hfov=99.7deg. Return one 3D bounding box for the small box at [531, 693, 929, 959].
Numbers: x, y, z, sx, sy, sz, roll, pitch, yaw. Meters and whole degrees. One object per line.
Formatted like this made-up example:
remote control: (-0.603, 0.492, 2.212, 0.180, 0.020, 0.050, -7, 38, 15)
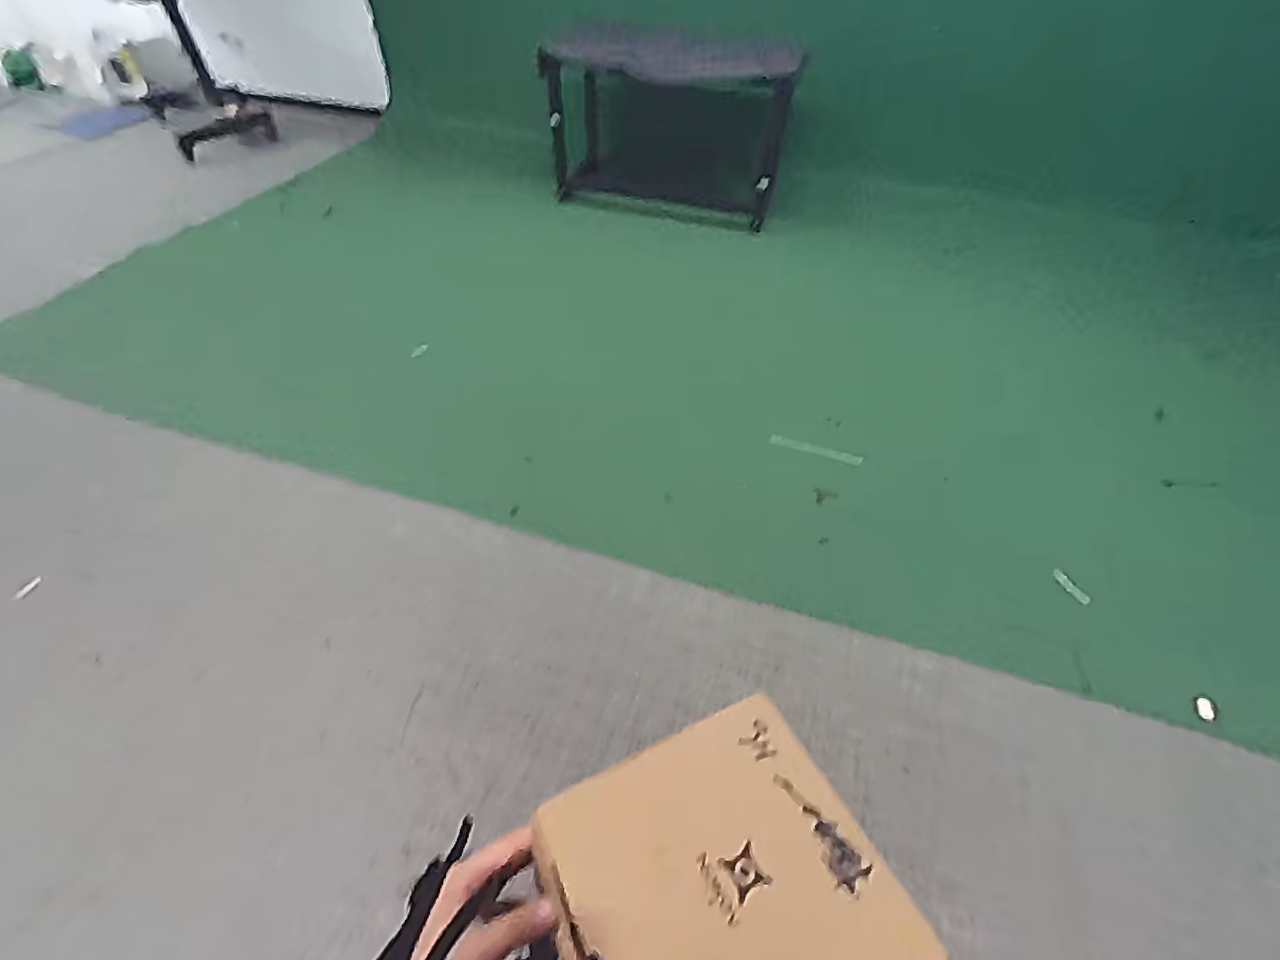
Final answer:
small box: (0.040, 0.286, 0.362, 0.179, 0.176, 0.168, -16, 46, -25)
